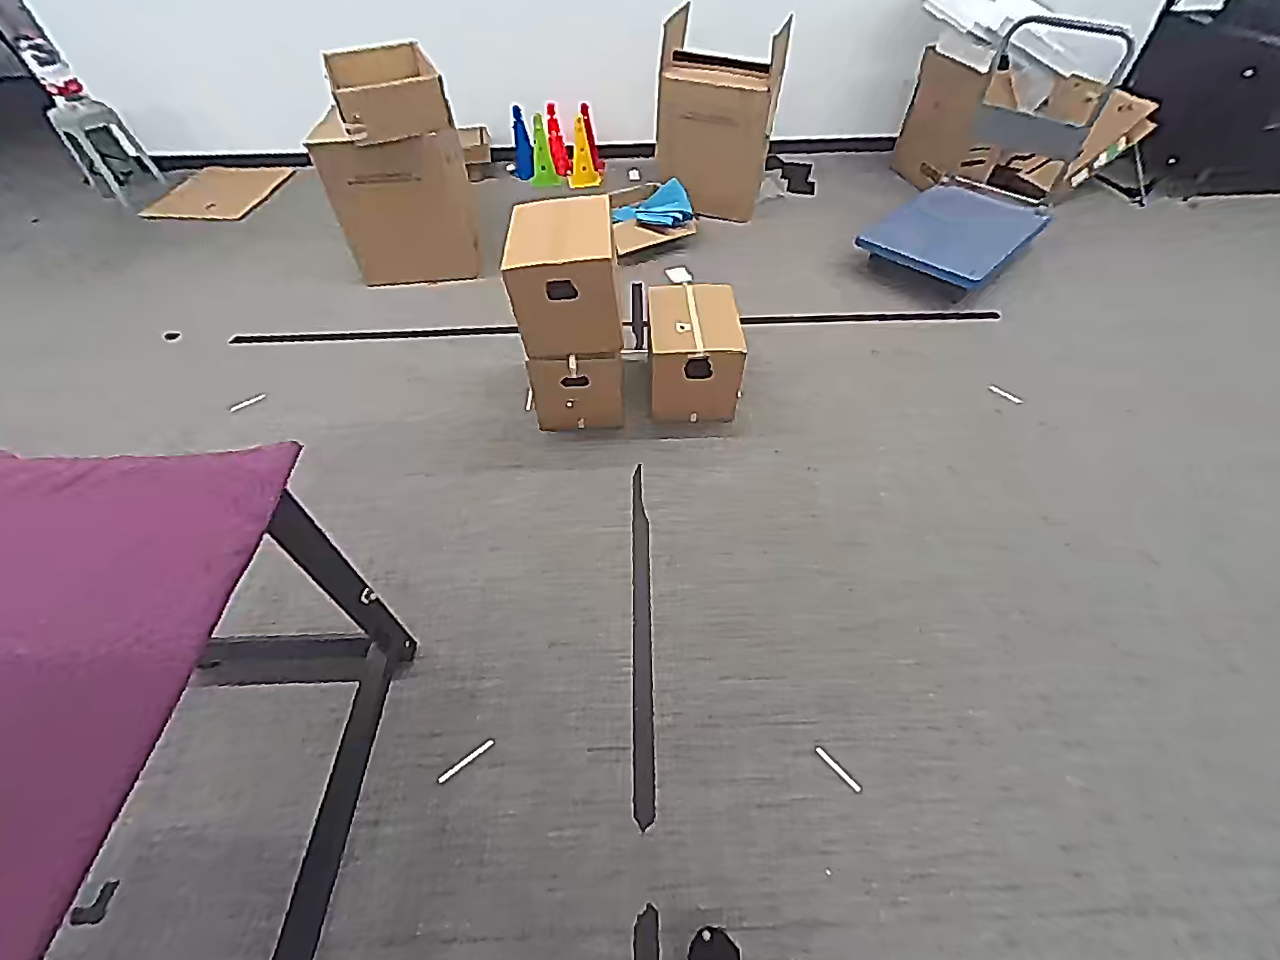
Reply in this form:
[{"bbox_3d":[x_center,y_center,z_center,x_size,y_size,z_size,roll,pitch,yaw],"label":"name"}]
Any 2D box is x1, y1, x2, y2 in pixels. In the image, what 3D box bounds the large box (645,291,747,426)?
[{"bbox_3d":[0.186,-0.452,1.996,0.320,0.320,0.408,-3,51,-1],"label":"large box"}]
